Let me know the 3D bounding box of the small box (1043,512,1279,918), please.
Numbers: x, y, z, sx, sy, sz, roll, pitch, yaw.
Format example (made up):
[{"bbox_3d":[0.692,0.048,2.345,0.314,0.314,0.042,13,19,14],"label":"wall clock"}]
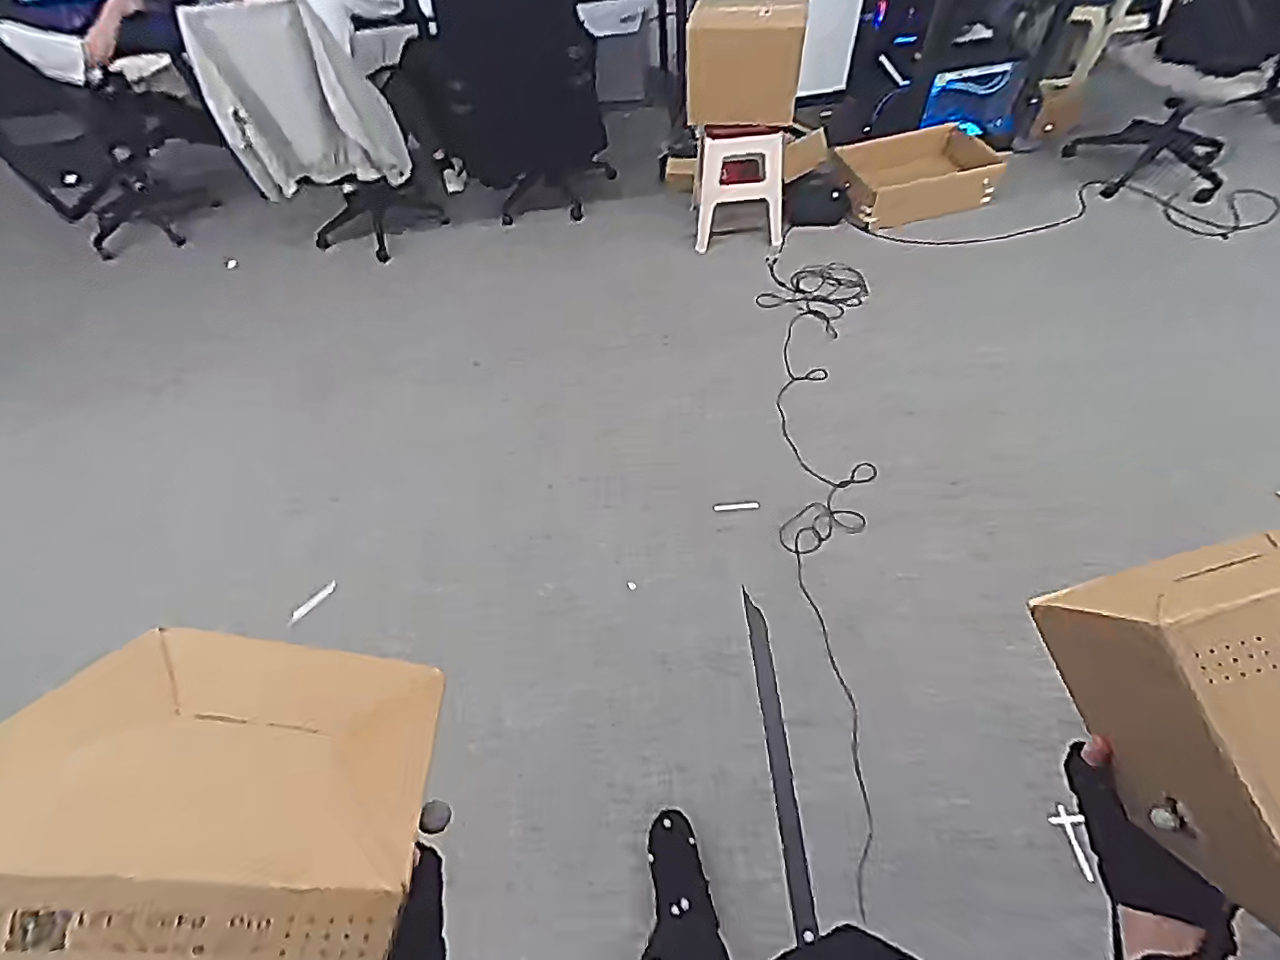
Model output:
[{"bbox_3d":[0.371,0.114,0.299,0.168,0.179,0.176,-21,76,14],"label":"small box"}]

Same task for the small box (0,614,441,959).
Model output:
[{"bbox_3d":[-0.203,0.178,0.250,0.168,0.179,0.176,16,92,-16],"label":"small box"}]
